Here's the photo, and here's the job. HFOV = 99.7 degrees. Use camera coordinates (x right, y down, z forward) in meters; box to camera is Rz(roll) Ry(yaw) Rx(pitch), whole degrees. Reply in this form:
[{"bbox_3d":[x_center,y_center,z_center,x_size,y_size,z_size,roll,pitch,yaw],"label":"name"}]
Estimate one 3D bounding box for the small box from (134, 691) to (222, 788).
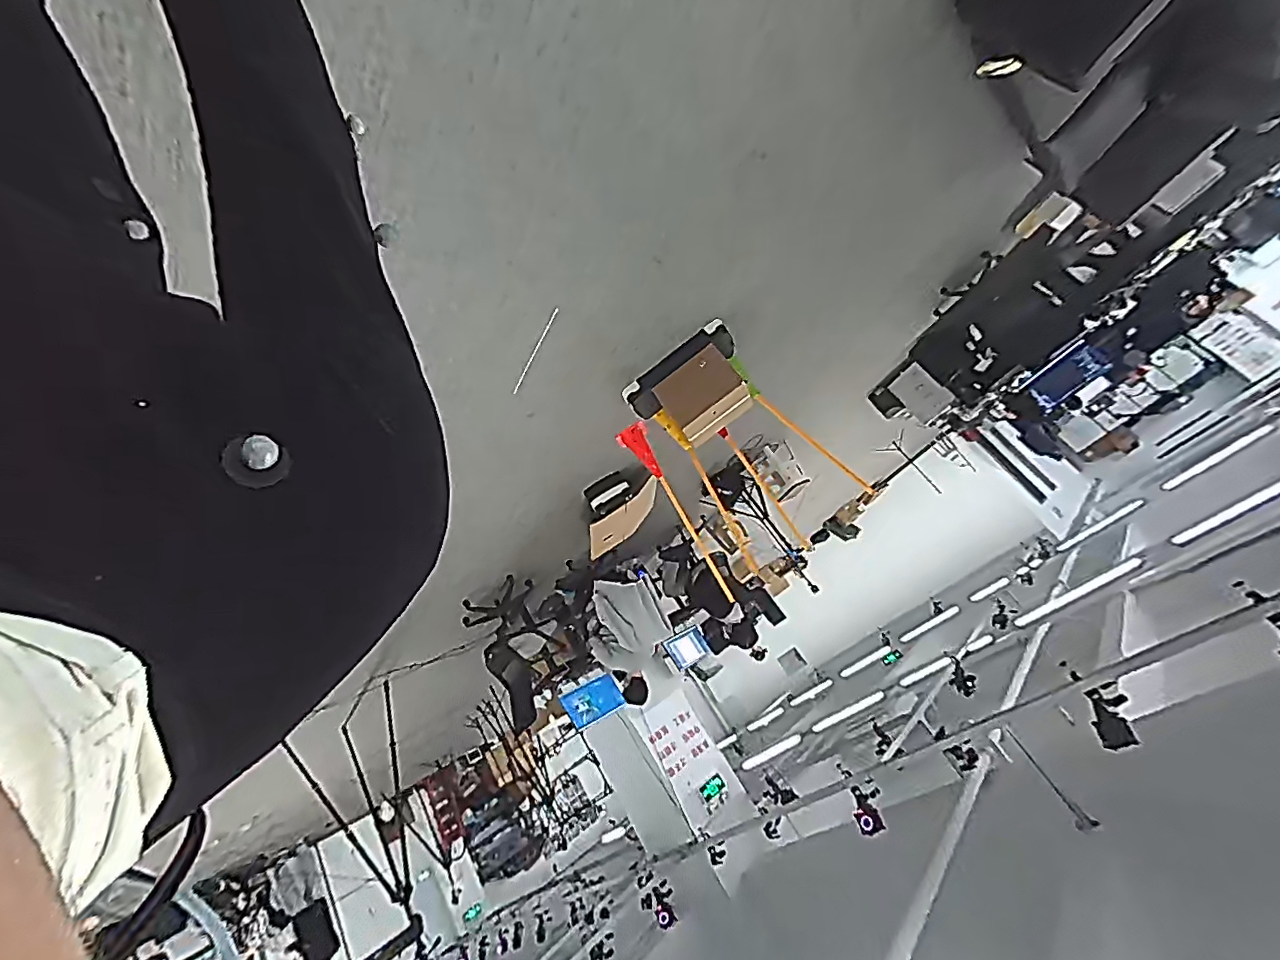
[{"bbox_3d":[-1.308,0.729,1.534,0.168,0.176,0.179,-13,150,-44],"label":"small box"}]
